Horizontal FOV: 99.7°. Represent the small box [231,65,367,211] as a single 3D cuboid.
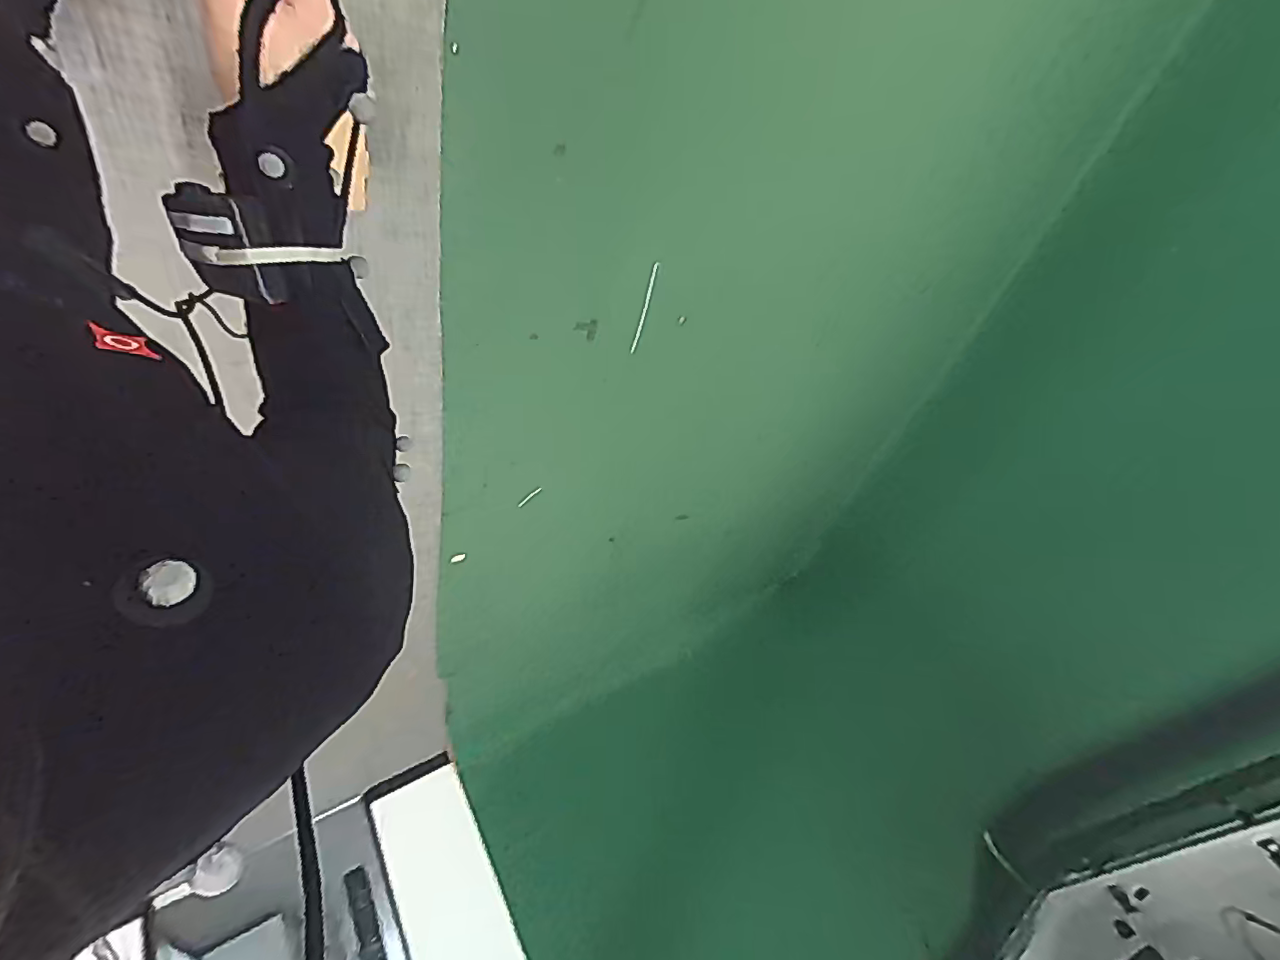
[{"bbox_3d":[-0.599,-0.602,0.957,0.179,0.176,0.168,-10,136,-36],"label":"small box"}]
